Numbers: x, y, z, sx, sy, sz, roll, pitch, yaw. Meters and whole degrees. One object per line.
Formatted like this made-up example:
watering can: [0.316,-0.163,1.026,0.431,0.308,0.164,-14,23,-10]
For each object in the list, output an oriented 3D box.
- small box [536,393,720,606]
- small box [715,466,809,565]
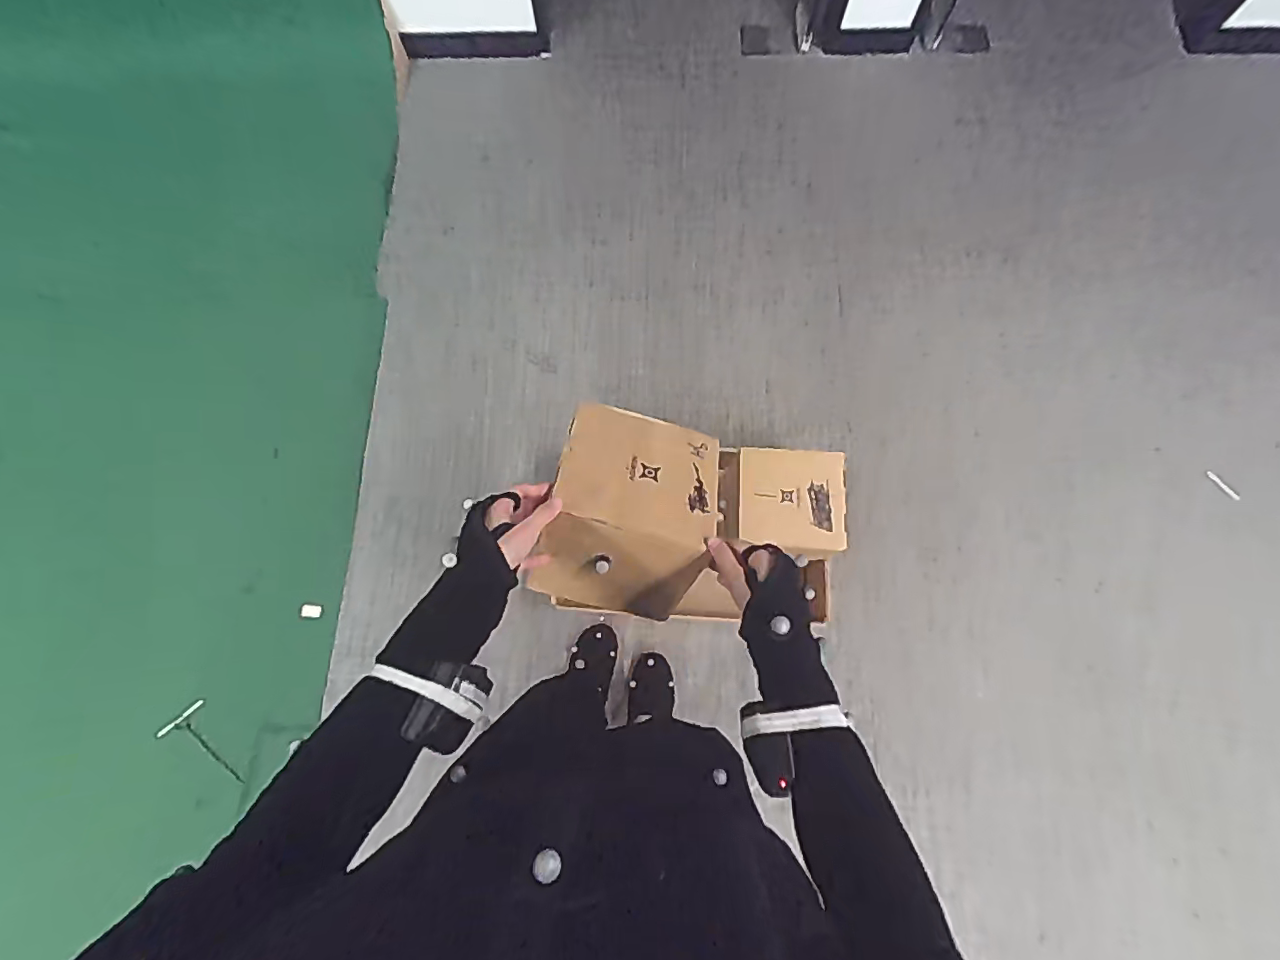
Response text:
small box: [-0.017,0.029,0.639,0.179,0.176,0.168,14,49,-6]
small box: [0.247,0.080,1.124,0.168,0.176,0.179,3,75,2]
